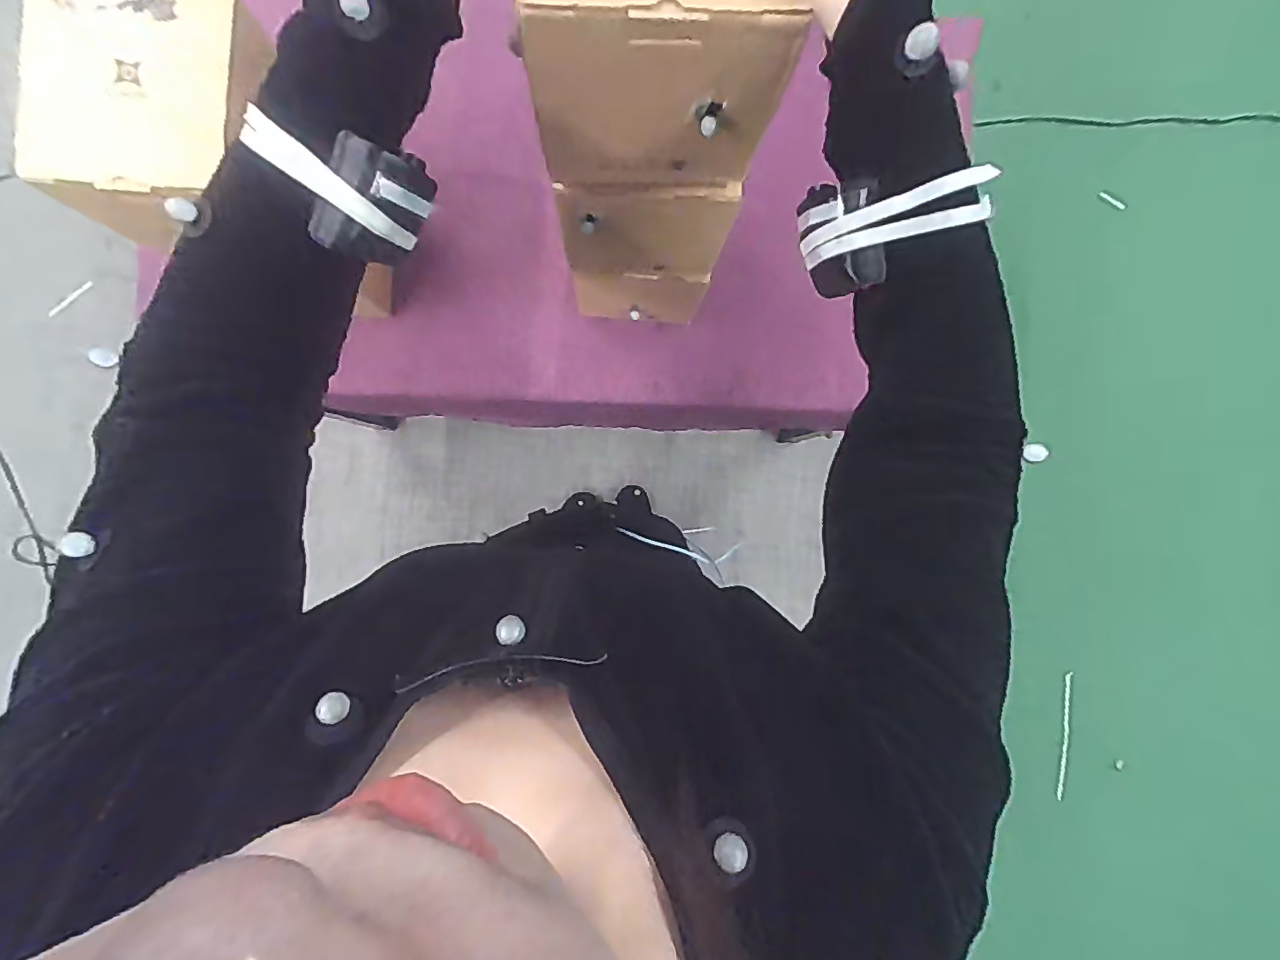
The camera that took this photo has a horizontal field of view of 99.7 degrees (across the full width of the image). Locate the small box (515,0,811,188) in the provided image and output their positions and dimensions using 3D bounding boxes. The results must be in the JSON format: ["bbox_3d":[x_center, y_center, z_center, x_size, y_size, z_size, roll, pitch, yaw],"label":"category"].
[{"bbox_3d":[0.011,-0.329,0.375,0.168,0.176,0.179,-1,90,-2],"label":"small box"}]

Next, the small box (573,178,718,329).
[{"bbox_3d":[0.004,-0.317,0.716,0.168,0.176,0.179,4,89,-2],"label":"small box"}]

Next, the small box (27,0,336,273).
[{"bbox_3d":[-0.424,-0.320,0.531,0.168,0.176,0.179,3,90,-4],"label":"small box"}]

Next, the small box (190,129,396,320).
[{"bbox_3d":[-0.429,-0.316,0.695,0.168,0.176,0.179,1,88,-3],"label":"small box"}]
